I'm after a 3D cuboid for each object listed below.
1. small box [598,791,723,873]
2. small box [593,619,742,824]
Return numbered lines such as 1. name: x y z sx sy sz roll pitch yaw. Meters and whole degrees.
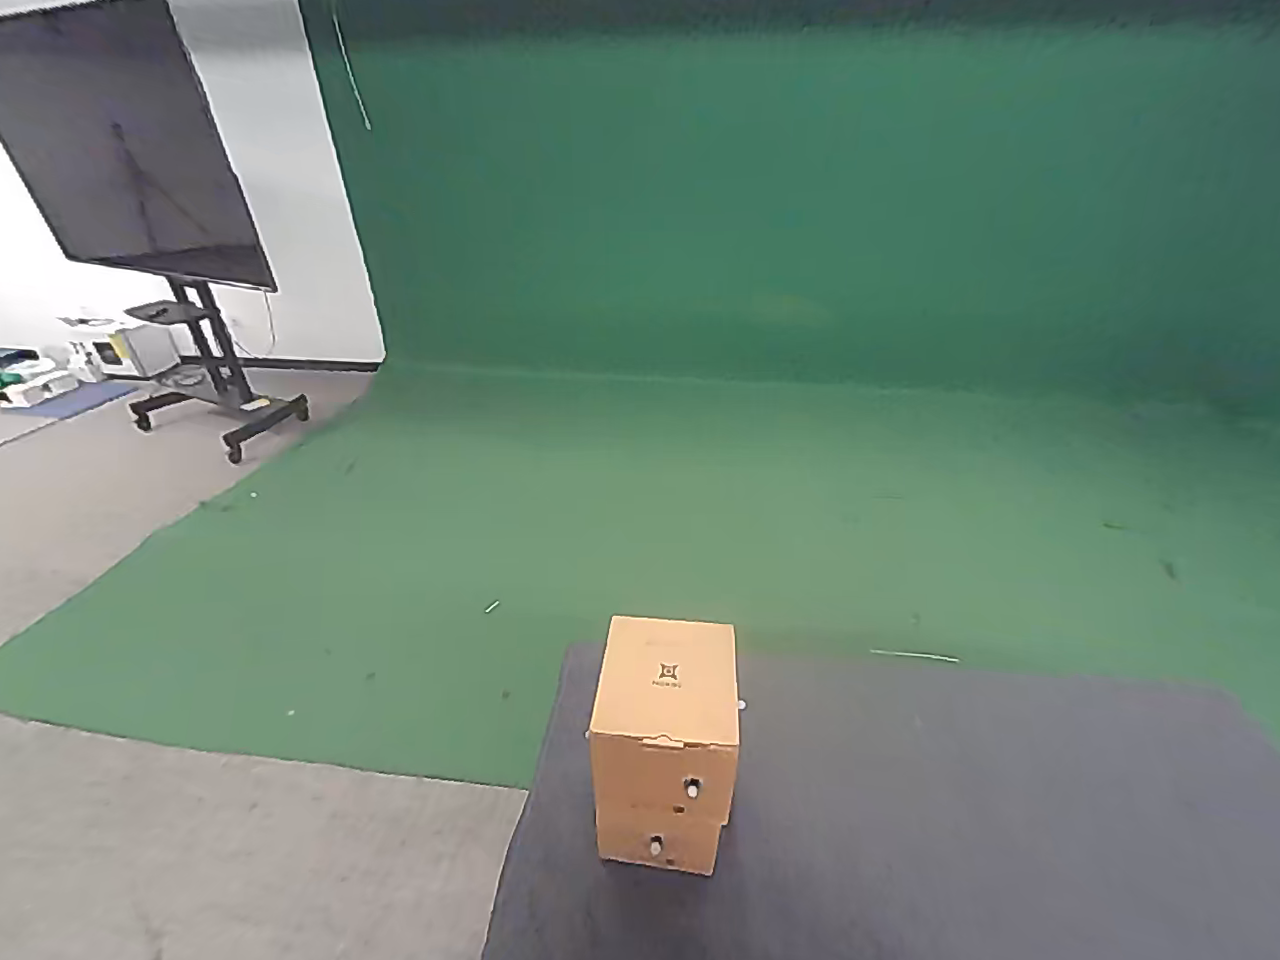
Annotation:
1. small box: 0.039 0.438 0.793 0.168 0.176 0.179 5 33 7
2. small box: 0.038 0.307 0.695 0.168 0.176 0.179 4 31 4
